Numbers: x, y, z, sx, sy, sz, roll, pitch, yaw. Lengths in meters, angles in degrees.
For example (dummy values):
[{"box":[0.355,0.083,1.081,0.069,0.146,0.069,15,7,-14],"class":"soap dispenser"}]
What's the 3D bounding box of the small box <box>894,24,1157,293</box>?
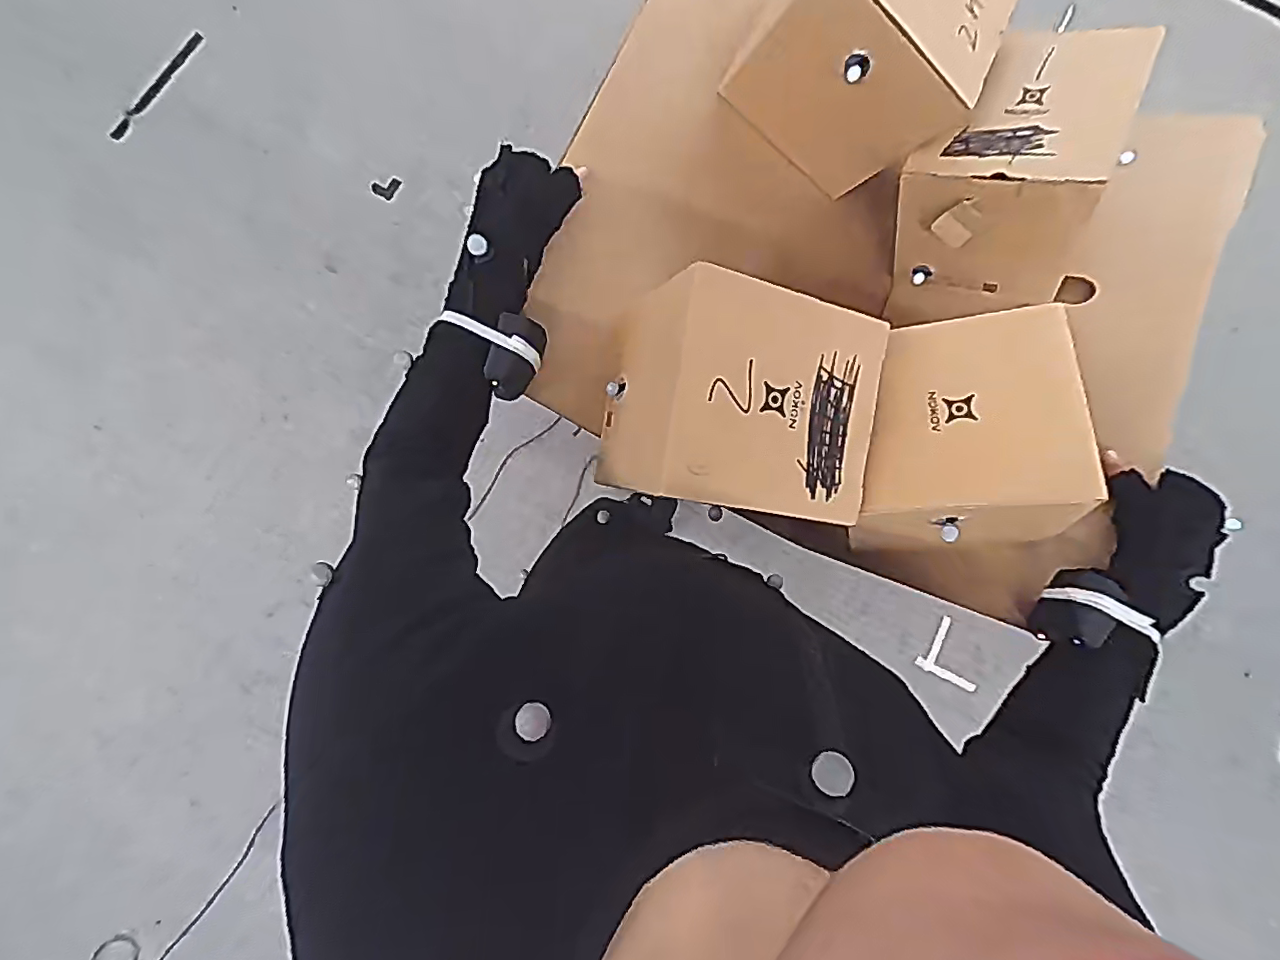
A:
[{"box":[0.384,-0.328,0.573,0.168,0.176,0.179,22,79,27],"class":"small box"}]
